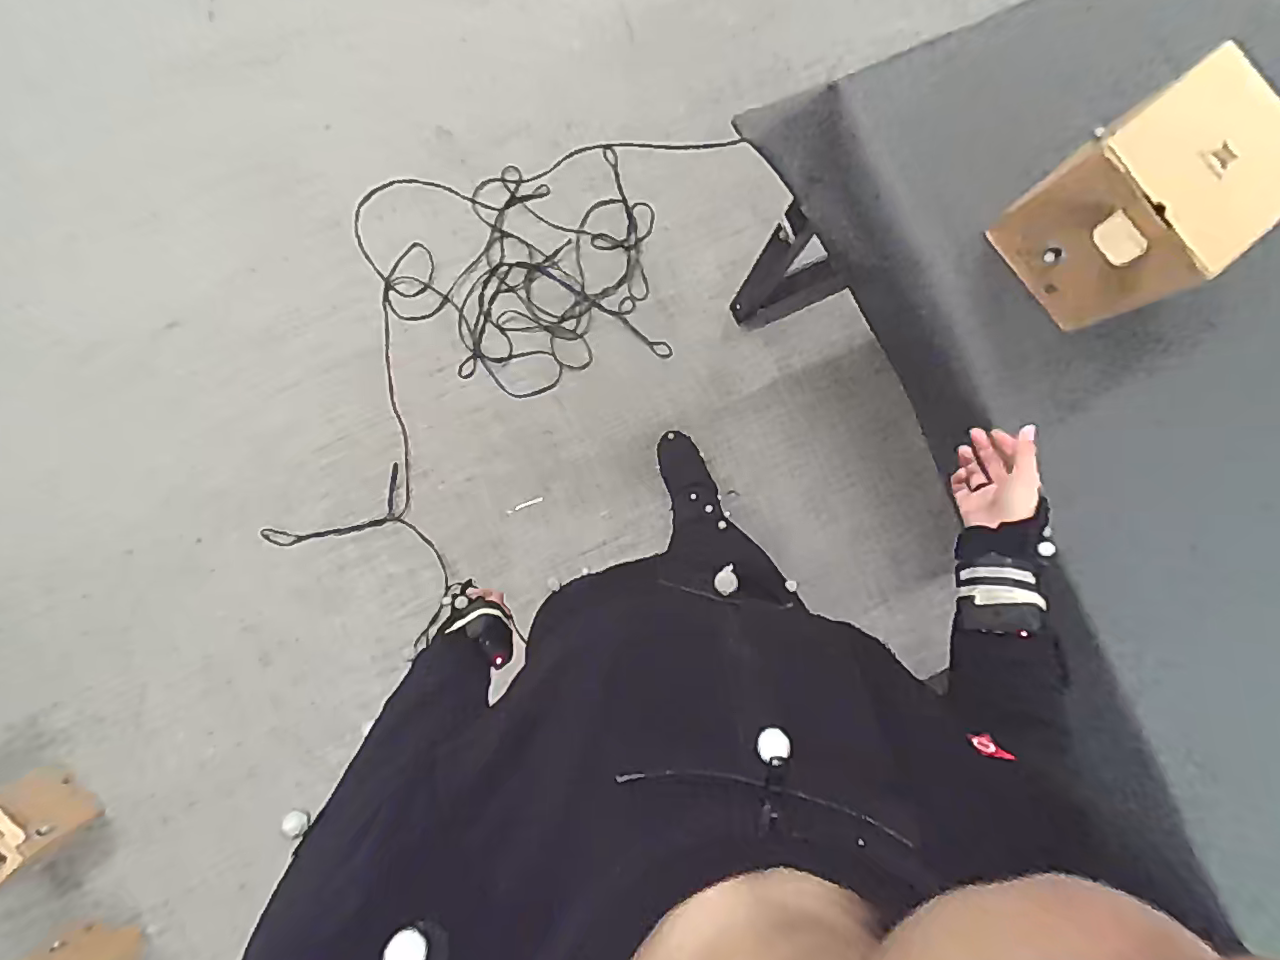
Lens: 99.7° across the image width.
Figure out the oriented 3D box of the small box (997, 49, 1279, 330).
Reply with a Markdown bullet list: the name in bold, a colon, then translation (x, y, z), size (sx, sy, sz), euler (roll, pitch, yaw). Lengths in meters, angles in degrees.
- **small box**: translation (0.552, -0.298, 0.594), size (0.179, 0.176, 0.168), euler (-39, 90, -4)
